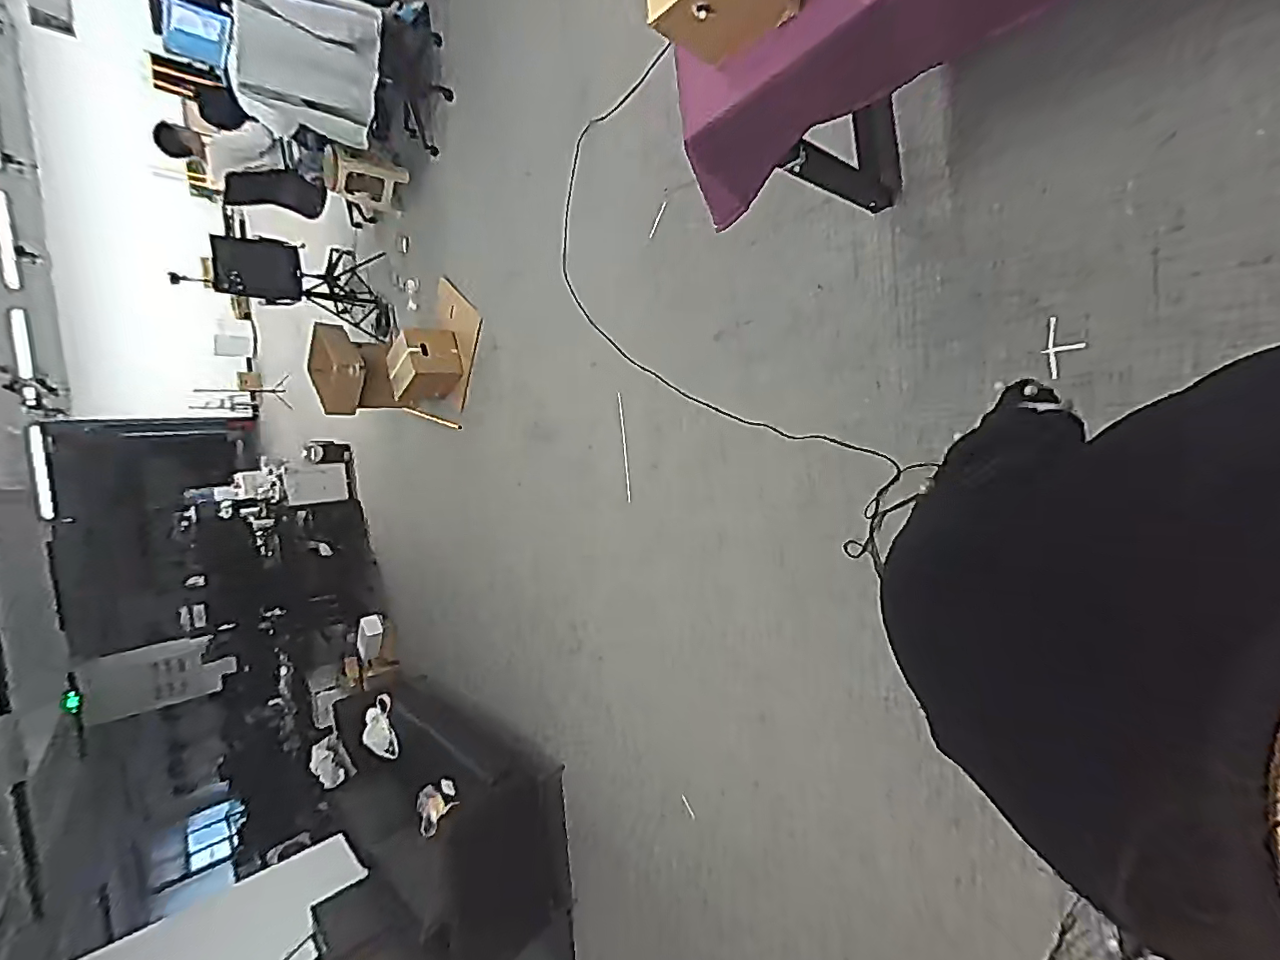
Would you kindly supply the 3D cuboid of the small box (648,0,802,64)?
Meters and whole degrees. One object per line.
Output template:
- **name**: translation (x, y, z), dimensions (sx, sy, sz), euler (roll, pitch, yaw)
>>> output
- **small box**: translation (0.129, -0.790, 0.828), dimensions (0.179, 0.176, 0.168), euler (6, 100, 47)
